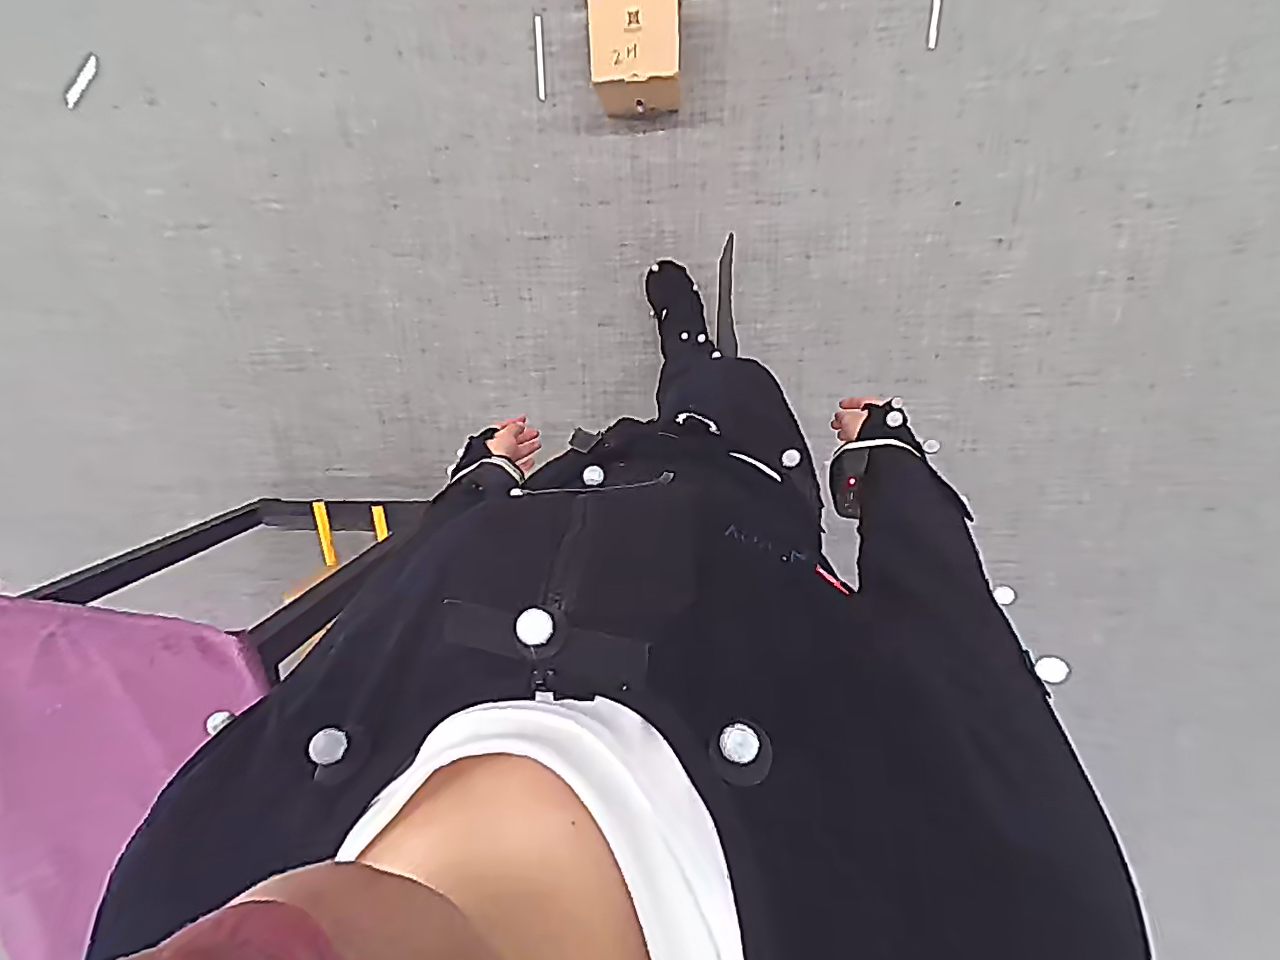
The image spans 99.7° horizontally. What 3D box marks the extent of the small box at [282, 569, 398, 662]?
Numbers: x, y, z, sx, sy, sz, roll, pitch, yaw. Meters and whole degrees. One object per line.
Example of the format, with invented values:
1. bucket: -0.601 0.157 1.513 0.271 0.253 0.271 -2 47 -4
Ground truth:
1. small box: -0.728 0.328 1.329 0.179 0.176 0.168 -1 106 4
